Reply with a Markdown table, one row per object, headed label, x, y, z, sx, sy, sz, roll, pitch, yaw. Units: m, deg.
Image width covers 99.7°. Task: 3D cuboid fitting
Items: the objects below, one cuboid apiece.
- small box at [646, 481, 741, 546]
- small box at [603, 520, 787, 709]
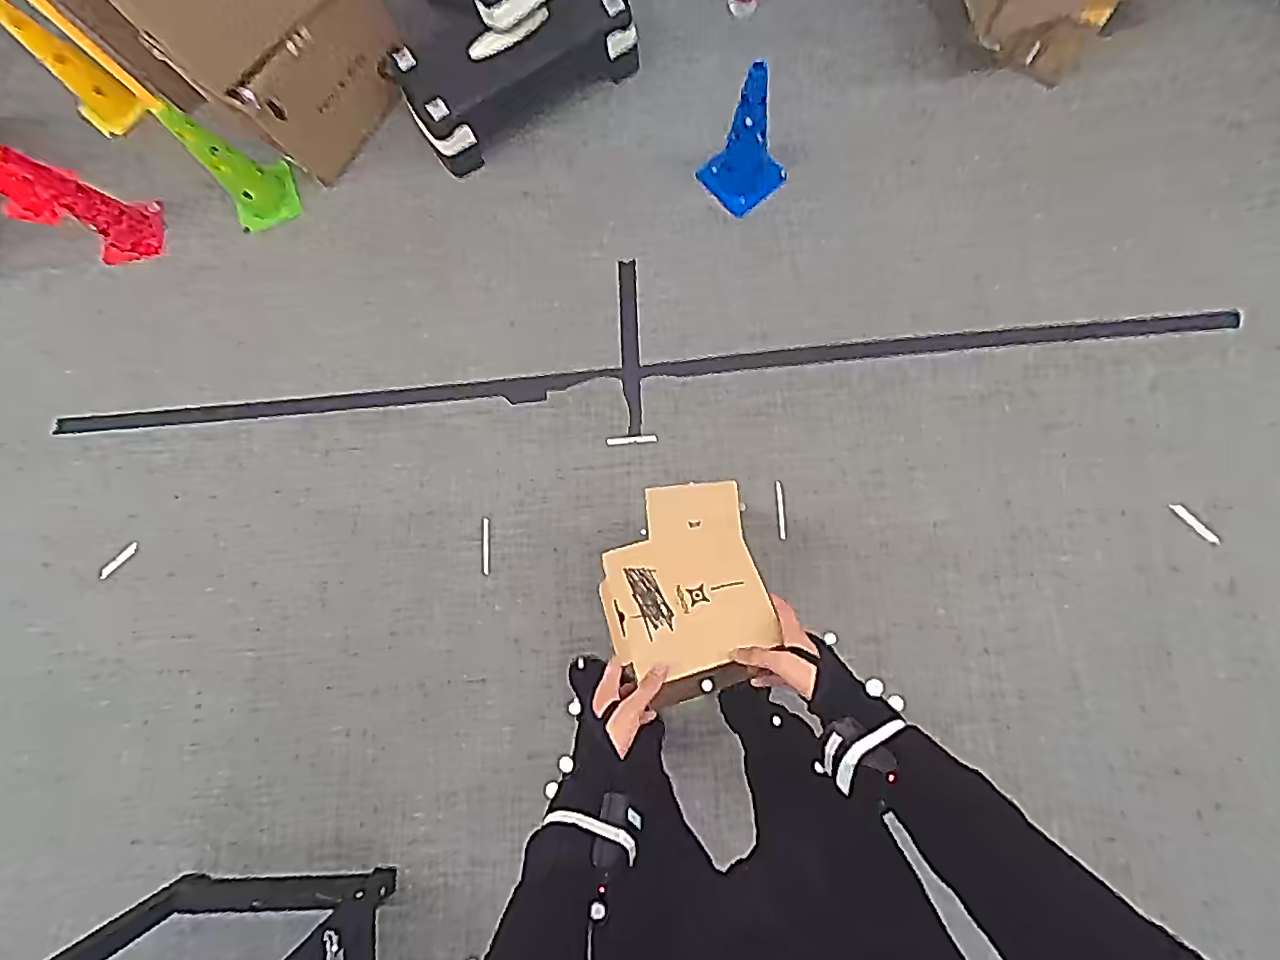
| label | x | y | z | sx | sy | sz | roll | pitch | yaw |
| --- | --- | --- | --- | --- | --- | --- | --- | --- | --- |
| small box | 0.099 | 0.104 | 1.025 | 0.168 | 0.176 | 0.179 | -5 | 82 | 3 |
| small box | 0.068 | 0.180 | 0.696 | 0.179 | 0.176 | 0.168 | -18 | 60 | -3 |
